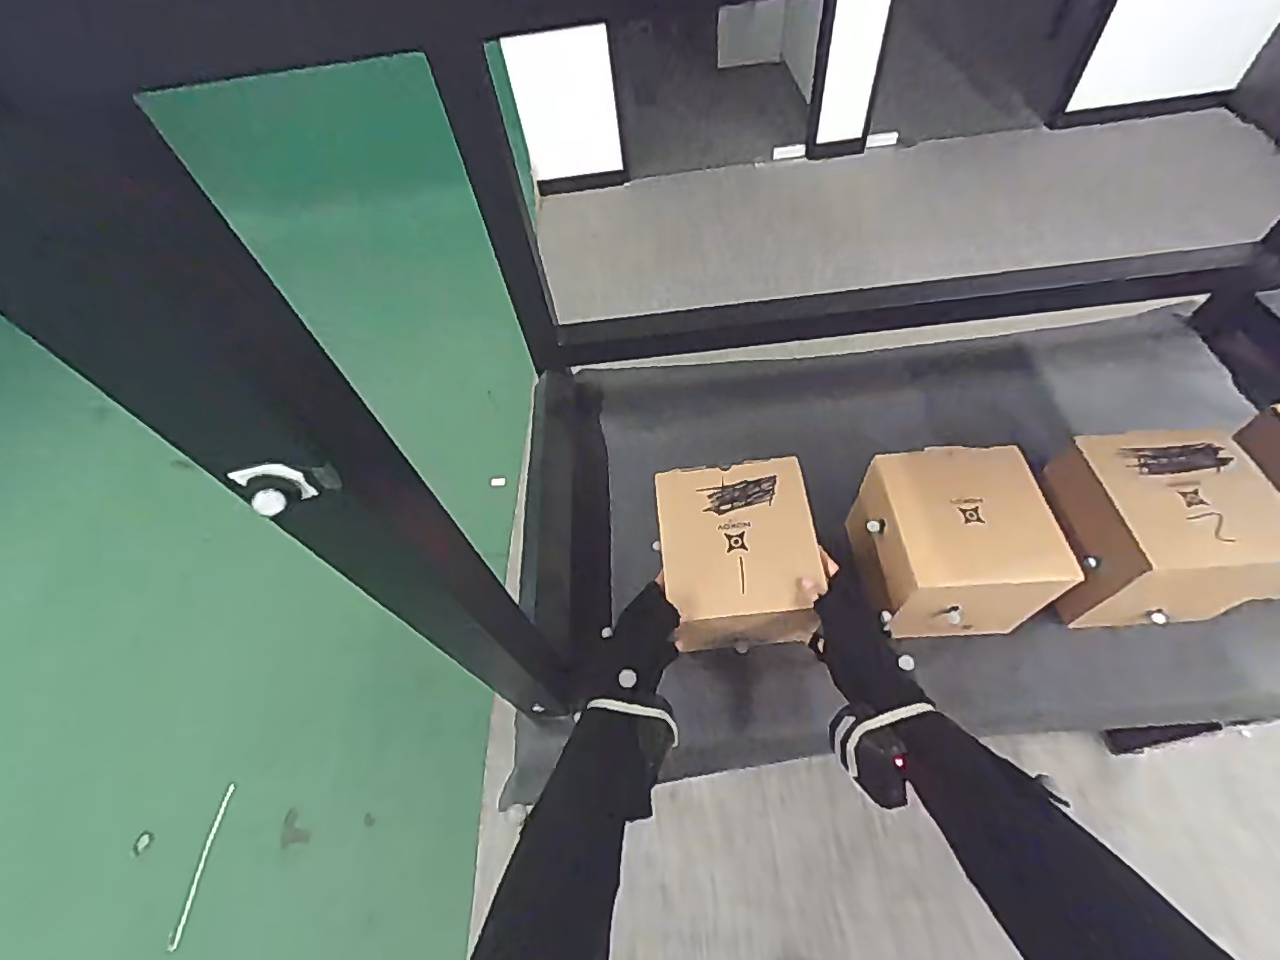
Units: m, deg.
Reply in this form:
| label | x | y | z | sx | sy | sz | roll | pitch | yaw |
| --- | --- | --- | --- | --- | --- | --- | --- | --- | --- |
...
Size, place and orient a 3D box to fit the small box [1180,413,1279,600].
| label | x | y | z | sx | sy | sz | roll | pitch | yaw |
| --- | --- | --- | --- | --- | --- | --- | --- | --- | --- |
| small box | 0.820 | 0.035 | 0.636 | 0.168 | 0.176 | 0.179 | -3 | 54 | 6 |

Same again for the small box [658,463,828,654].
| label | x | y | z | sx | sy | sz | roll | pitch | yaw |
| --- | --- | --- | --- | --- | --- | --- | --- | --- | --- |
| small box | 0.114 | 0.101 | 0.654 | 0.168 | 0.176 | 0.179 | -7 | 62 | 6 |

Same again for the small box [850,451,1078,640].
| label | x | y | z | sx | sy | sz | roll | pitch | yaw |
| --- | --- | --- | --- | --- | --- | --- | --- | --- | --- |
| small box | 0.371 | 0.089 | 0.662 | 0.168 | 0.176 | 0.179 | -4 | 54 | 6 |
